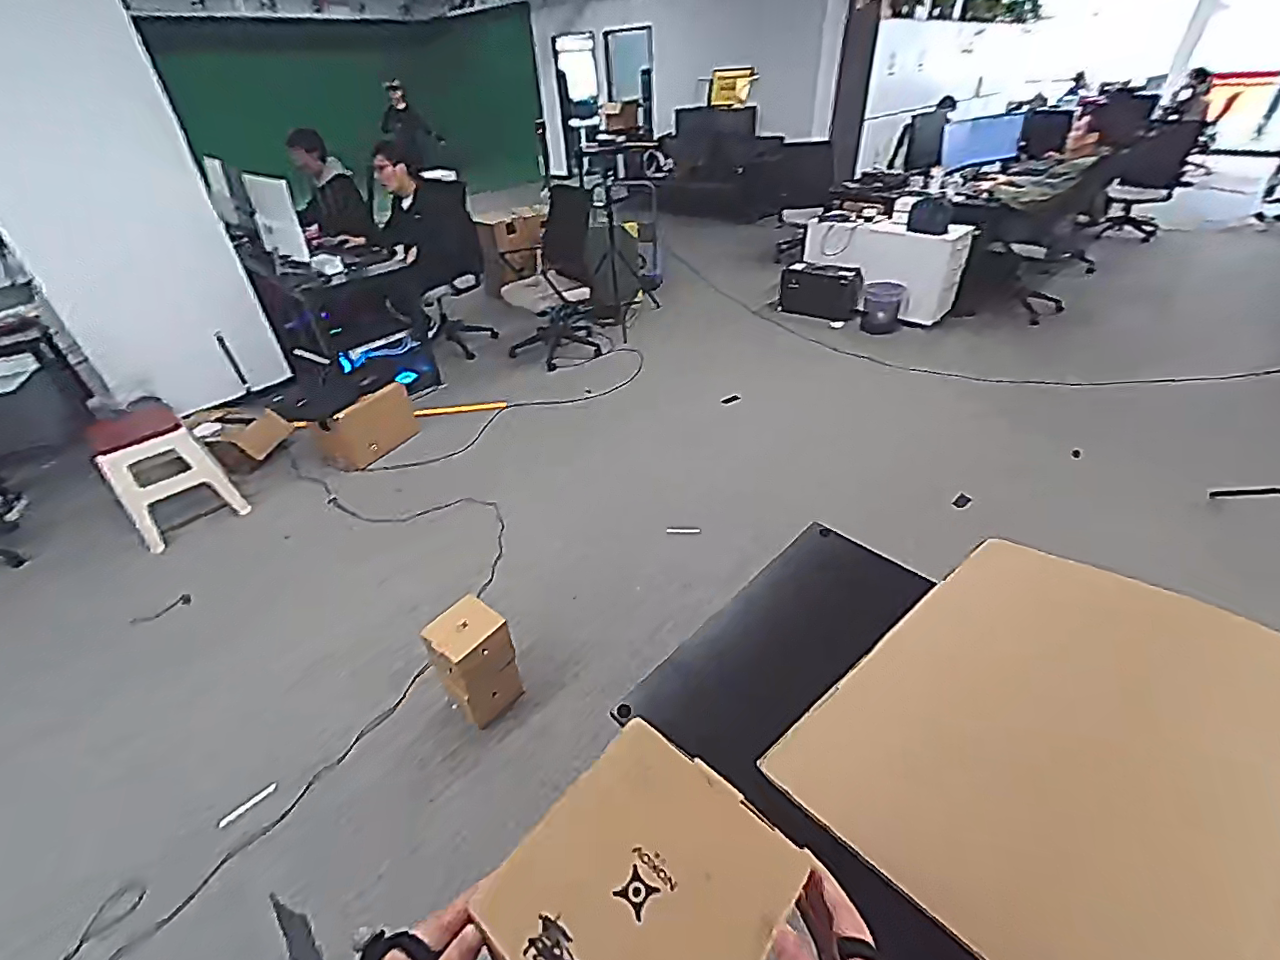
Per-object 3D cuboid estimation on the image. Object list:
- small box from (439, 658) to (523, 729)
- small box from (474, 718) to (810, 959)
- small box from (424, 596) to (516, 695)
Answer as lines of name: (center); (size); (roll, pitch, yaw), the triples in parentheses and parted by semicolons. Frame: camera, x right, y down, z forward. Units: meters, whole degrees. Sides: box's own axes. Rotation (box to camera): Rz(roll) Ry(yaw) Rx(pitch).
small box: (-0.474, 0.609, 1.639); (0.168, 0.176, 0.179); (26, 46, 33)
small box: (0.001, 0.335, 0.412); (0.168, 0.176, 0.179); (26, 42, 31)
small box: (-0.479, 0.475, 1.547); (0.168, 0.176, 0.179); (24, 43, 30)
